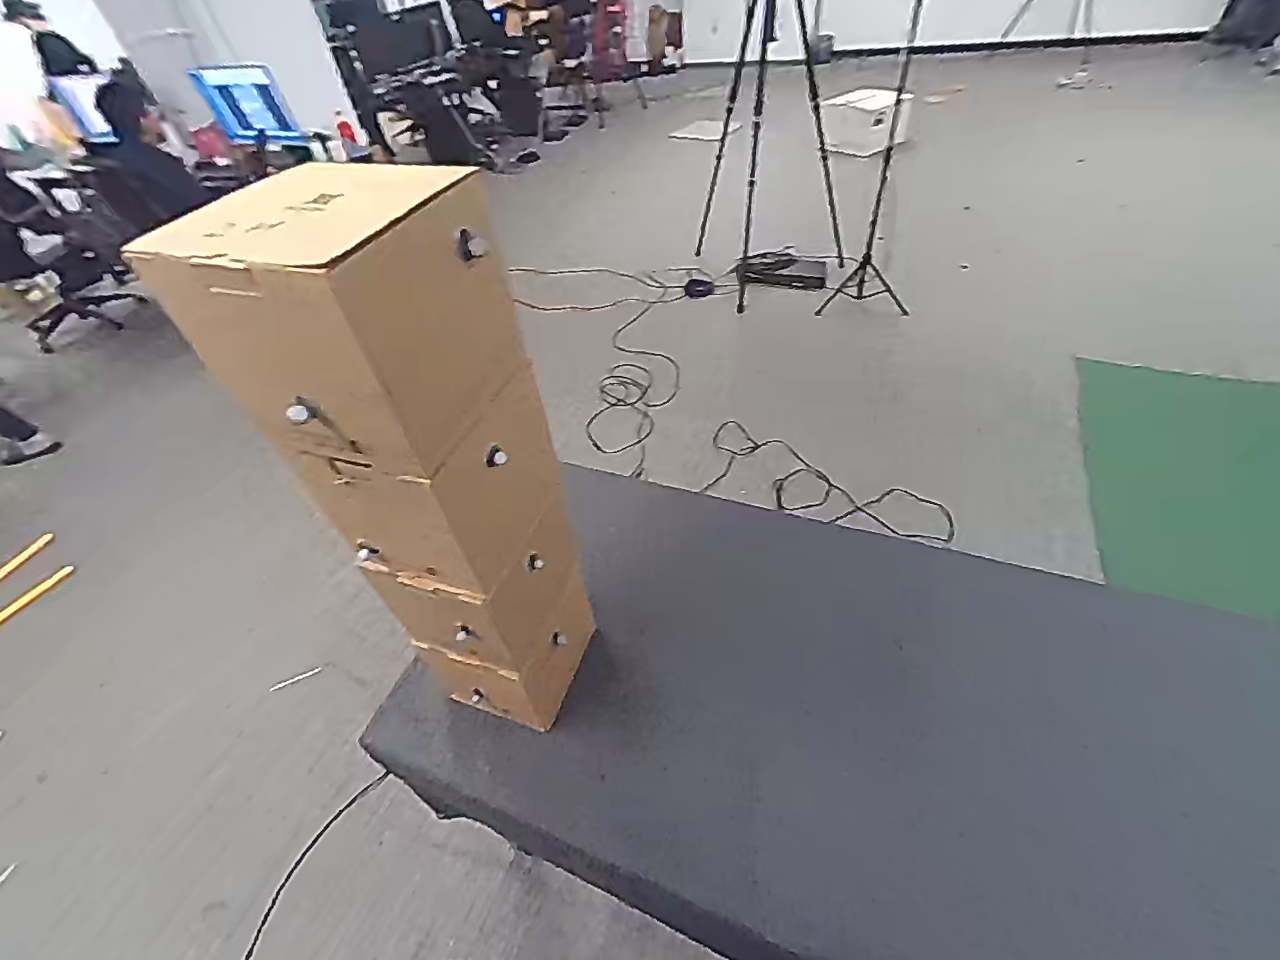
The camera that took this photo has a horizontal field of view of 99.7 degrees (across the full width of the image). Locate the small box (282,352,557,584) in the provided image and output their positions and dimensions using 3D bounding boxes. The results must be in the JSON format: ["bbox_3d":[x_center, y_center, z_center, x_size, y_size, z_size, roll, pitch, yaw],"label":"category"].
[{"bbox_3d":[-0.199,-0.021,0.551,0.168,0.176,0.179,12,48,16],"label":"small box"}]

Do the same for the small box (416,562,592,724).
[{"bbox_3d":[-0.178,0.214,0.776,0.168,0.176,0.179,12,48,18],"label":"small box"}]

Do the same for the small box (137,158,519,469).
[{"bbox_3d":[-0.214,-0.137,0.434,0.168,0.176,0.179,11,48,16],"label":"small box"}]

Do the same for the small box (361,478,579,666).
[{"bbox_3d":[-0.188,0.098,0.662,0.168,0.176,0.179,13,48,17],"label":"small box"}]
